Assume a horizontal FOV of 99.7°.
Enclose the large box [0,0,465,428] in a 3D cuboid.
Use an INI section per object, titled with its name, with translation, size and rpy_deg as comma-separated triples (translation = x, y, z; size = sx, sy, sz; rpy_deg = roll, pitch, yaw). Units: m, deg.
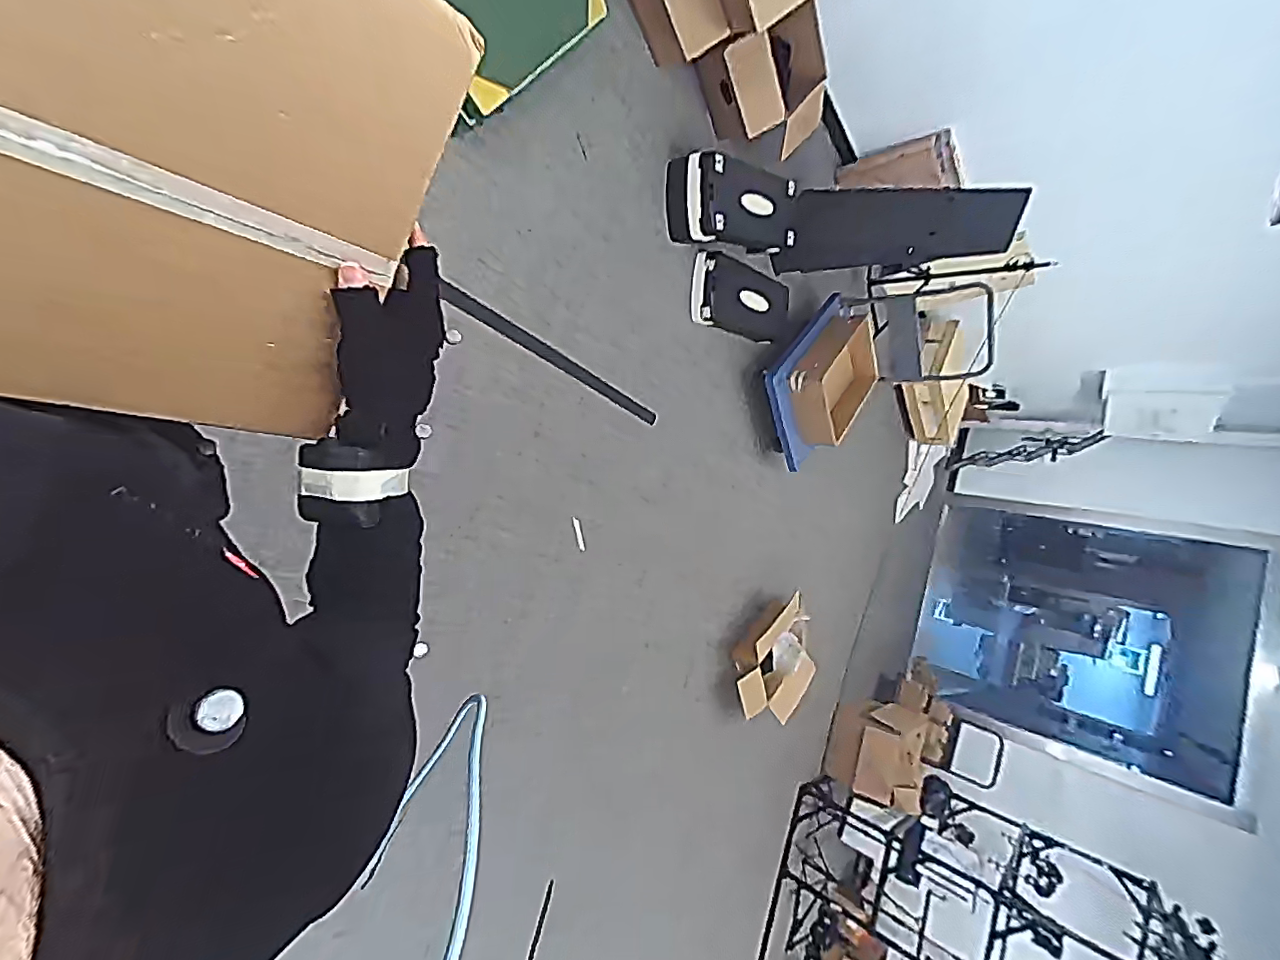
[large box]
translation = -0.392, -0.269, 0.324
size = 0.408, 0.320, 0.320
rpy_deg = 7, 129, -46
